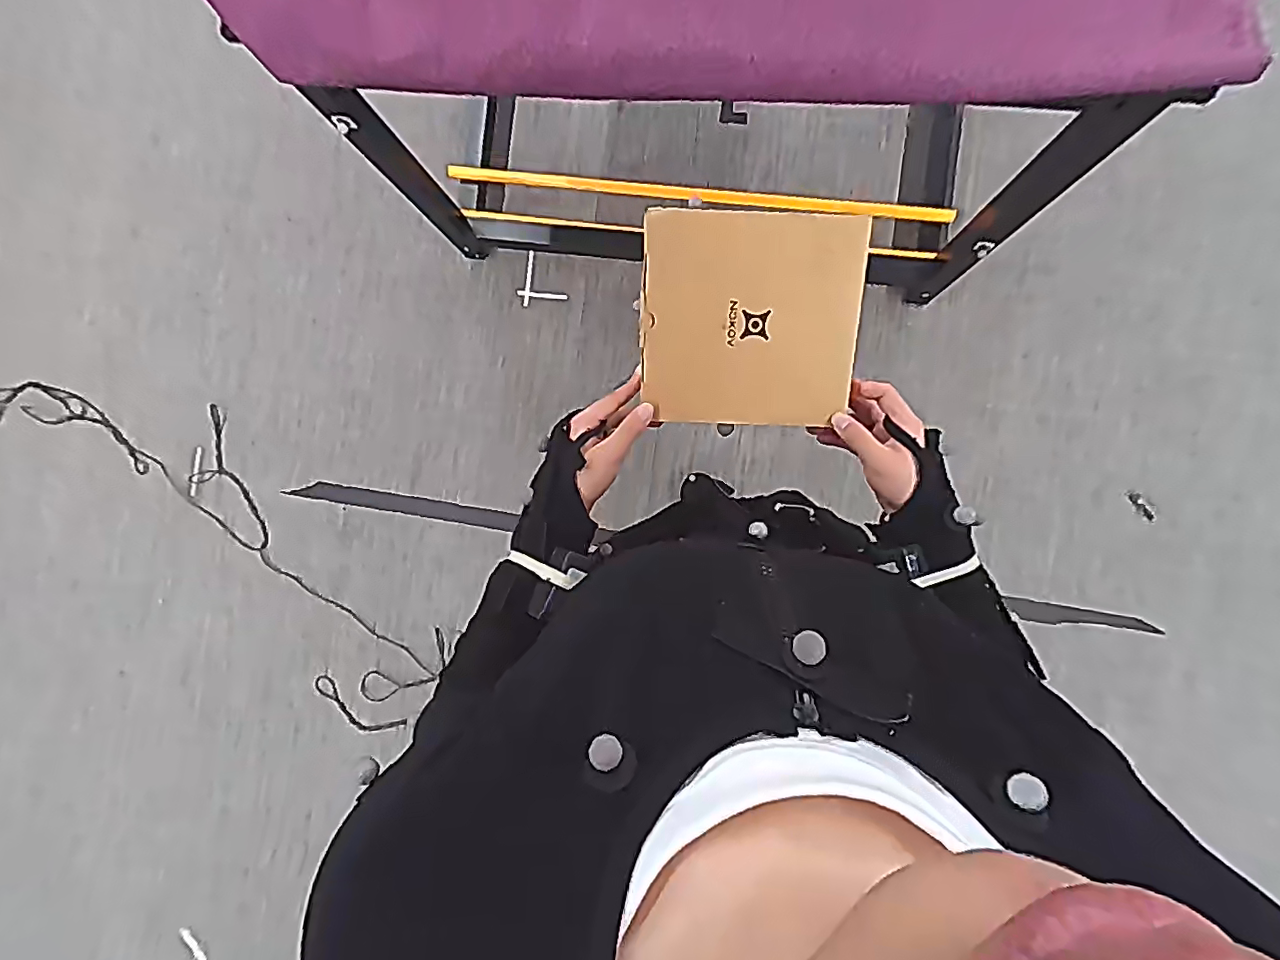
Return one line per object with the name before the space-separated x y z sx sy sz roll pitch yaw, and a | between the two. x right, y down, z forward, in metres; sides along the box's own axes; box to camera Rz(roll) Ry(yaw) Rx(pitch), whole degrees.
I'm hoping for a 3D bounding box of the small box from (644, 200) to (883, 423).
small box | 0.096 -0.153 0.503 0.179 0.176 0.168 2 107 3
